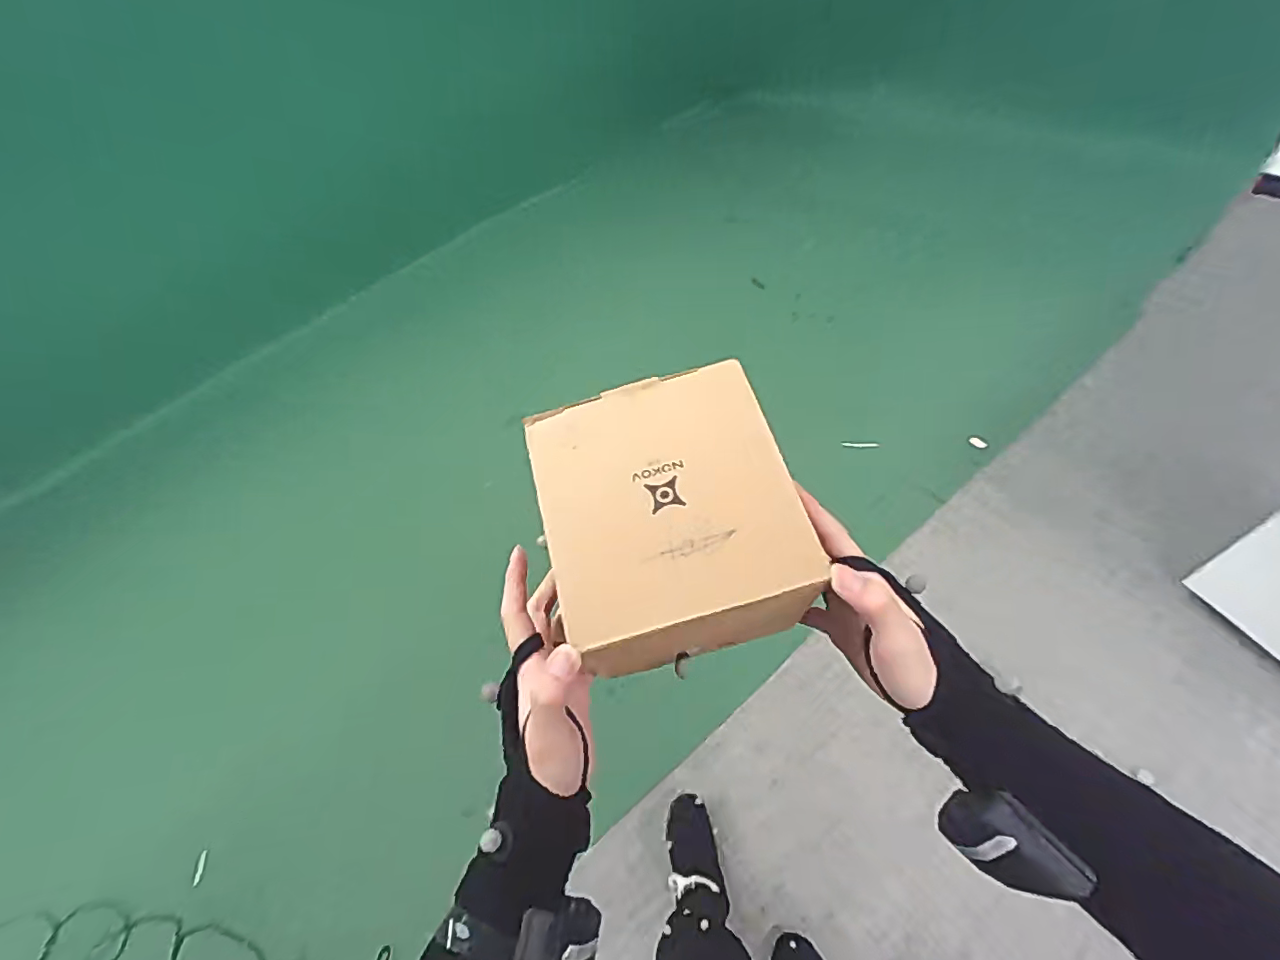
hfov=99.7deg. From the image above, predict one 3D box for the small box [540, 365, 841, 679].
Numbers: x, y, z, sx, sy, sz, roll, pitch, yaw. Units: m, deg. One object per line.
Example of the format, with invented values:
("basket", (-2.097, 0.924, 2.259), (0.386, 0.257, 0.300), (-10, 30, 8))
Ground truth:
("small box", (0.031, 0.043, 0.430), (0.168, 0.176, 0.179), (-15, 64, -1))
